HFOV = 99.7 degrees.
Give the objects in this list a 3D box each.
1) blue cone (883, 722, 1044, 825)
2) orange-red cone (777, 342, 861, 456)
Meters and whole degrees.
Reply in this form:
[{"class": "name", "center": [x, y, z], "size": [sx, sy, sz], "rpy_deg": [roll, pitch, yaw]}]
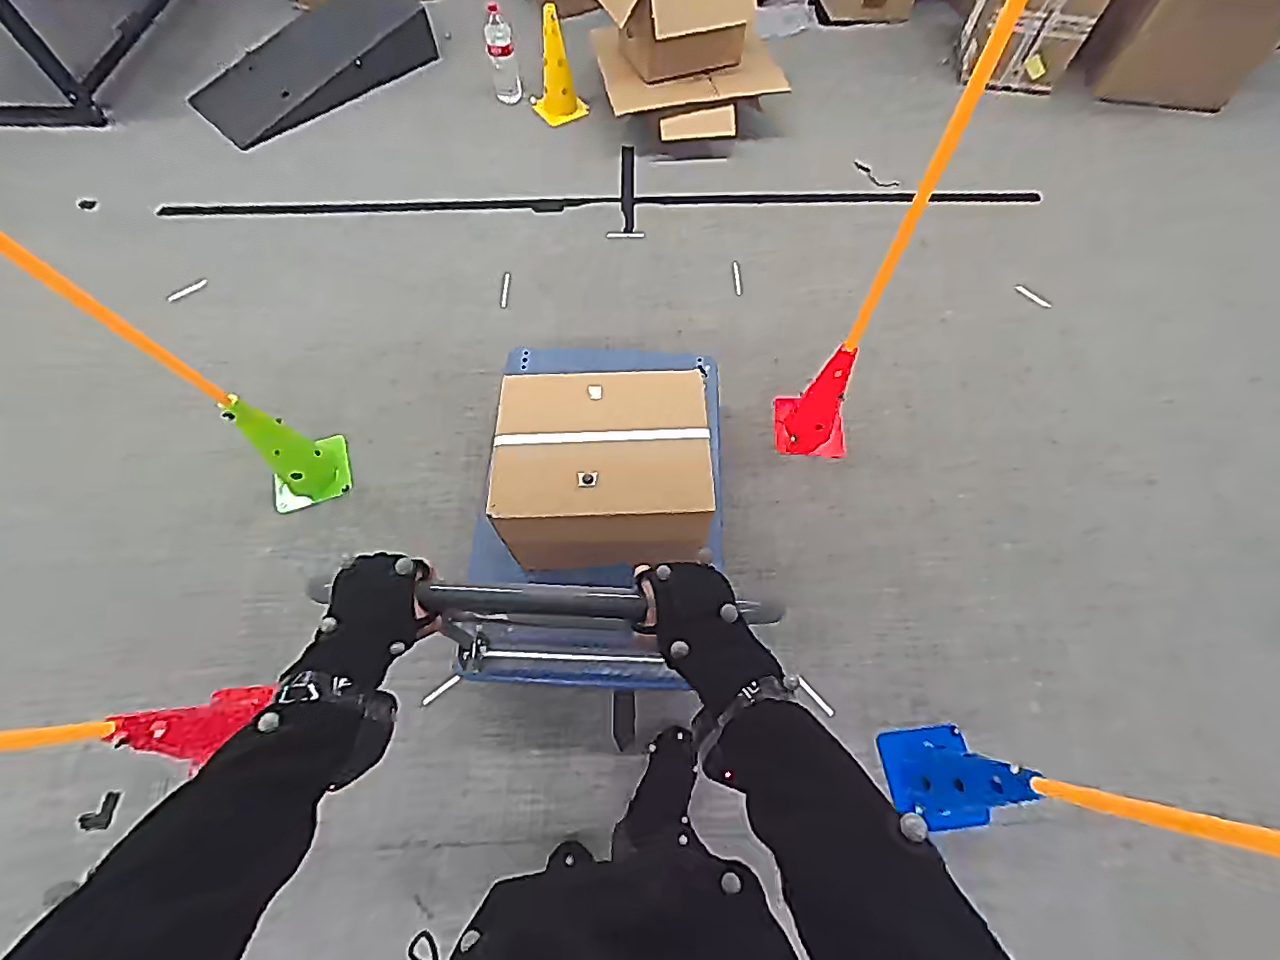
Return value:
[{"class": "blue cone", "center": [0.653, 0.573, 1.055], "size": [0.193, 0.380, 0.192], "rpy_deg": [-4, 62, -3]}, {"class": "orange-red cone", "center": [0.509, -0.239, 1.443], "size": [0.199, 0.360, 0.198], "rpy_deg": [5, 64, 1]}]
